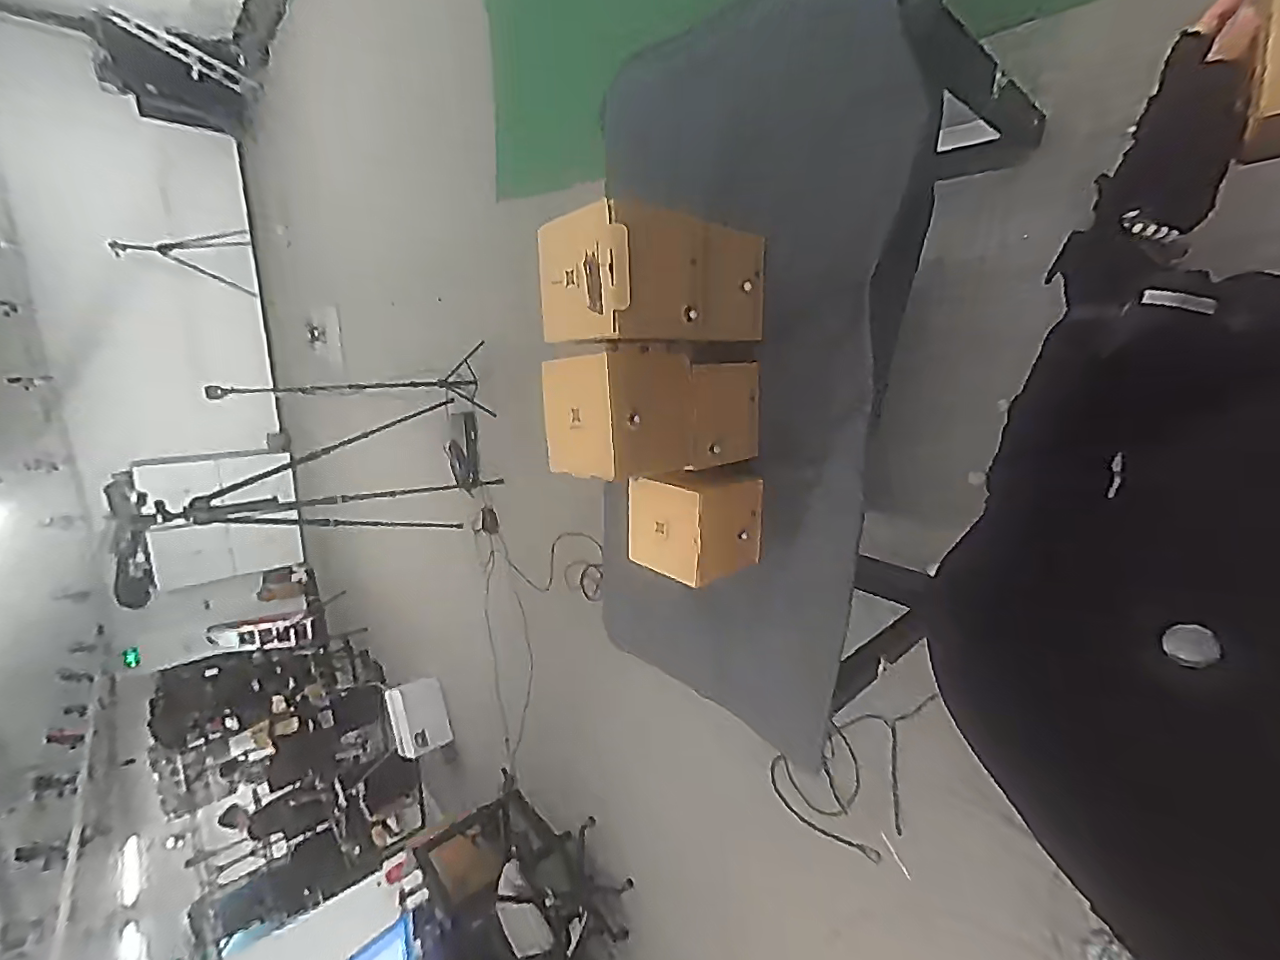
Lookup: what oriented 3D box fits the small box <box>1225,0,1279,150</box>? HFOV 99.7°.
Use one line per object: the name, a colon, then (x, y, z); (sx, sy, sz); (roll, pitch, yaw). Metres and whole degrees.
small box: (0.452, -0.300, 0.283); (0.179, 0.176, 0.168); (7, 108, 43)
